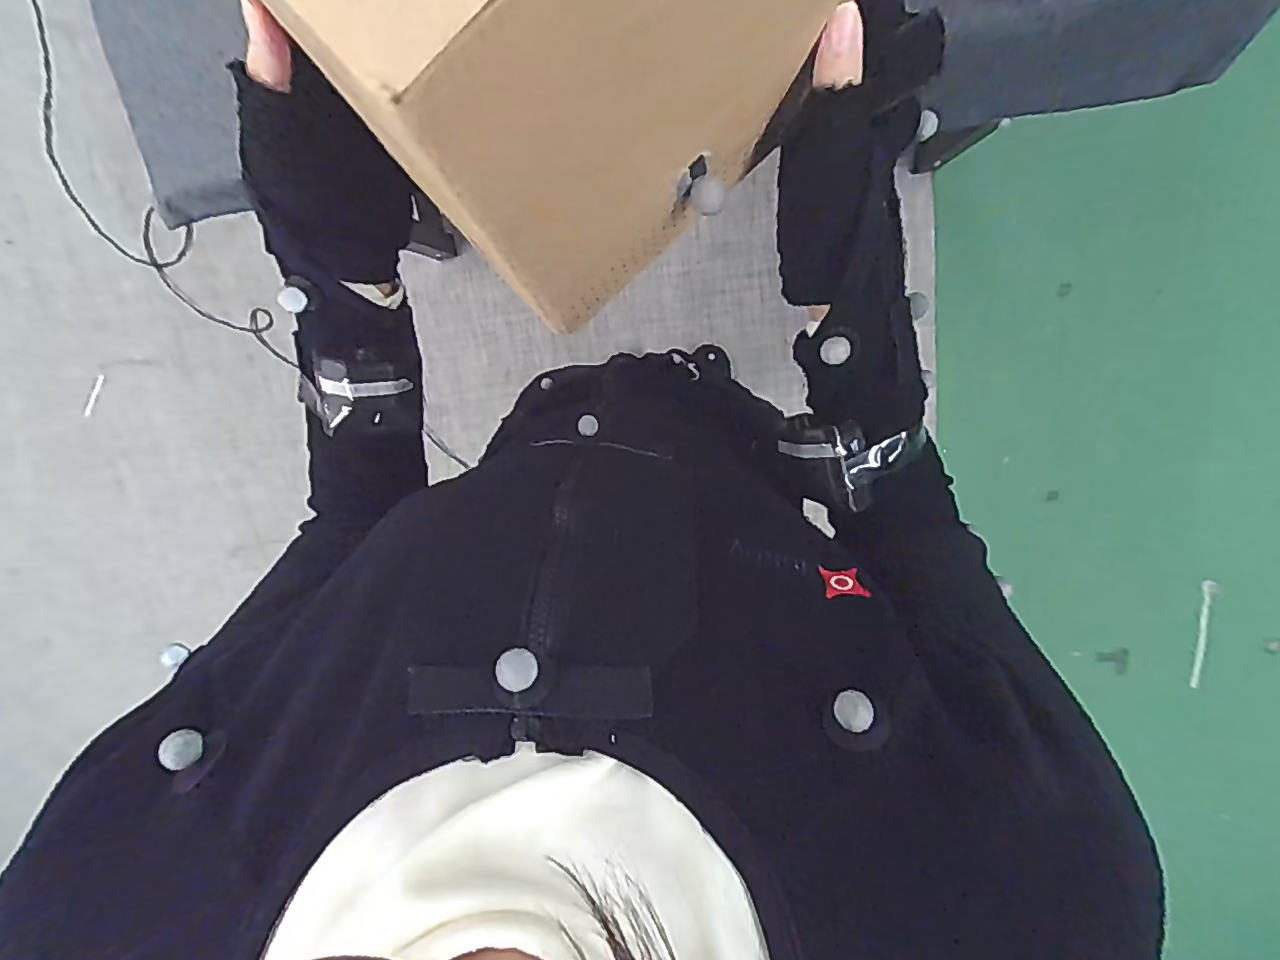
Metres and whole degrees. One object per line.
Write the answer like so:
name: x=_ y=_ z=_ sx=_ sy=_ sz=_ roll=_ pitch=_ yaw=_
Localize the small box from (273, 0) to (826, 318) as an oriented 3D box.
small box: x=-0.038 y=-0.199 z=0.205 sx=0.179 sy=0.176 sz=0.168 roll=-43 pitch=83 yaw=1
